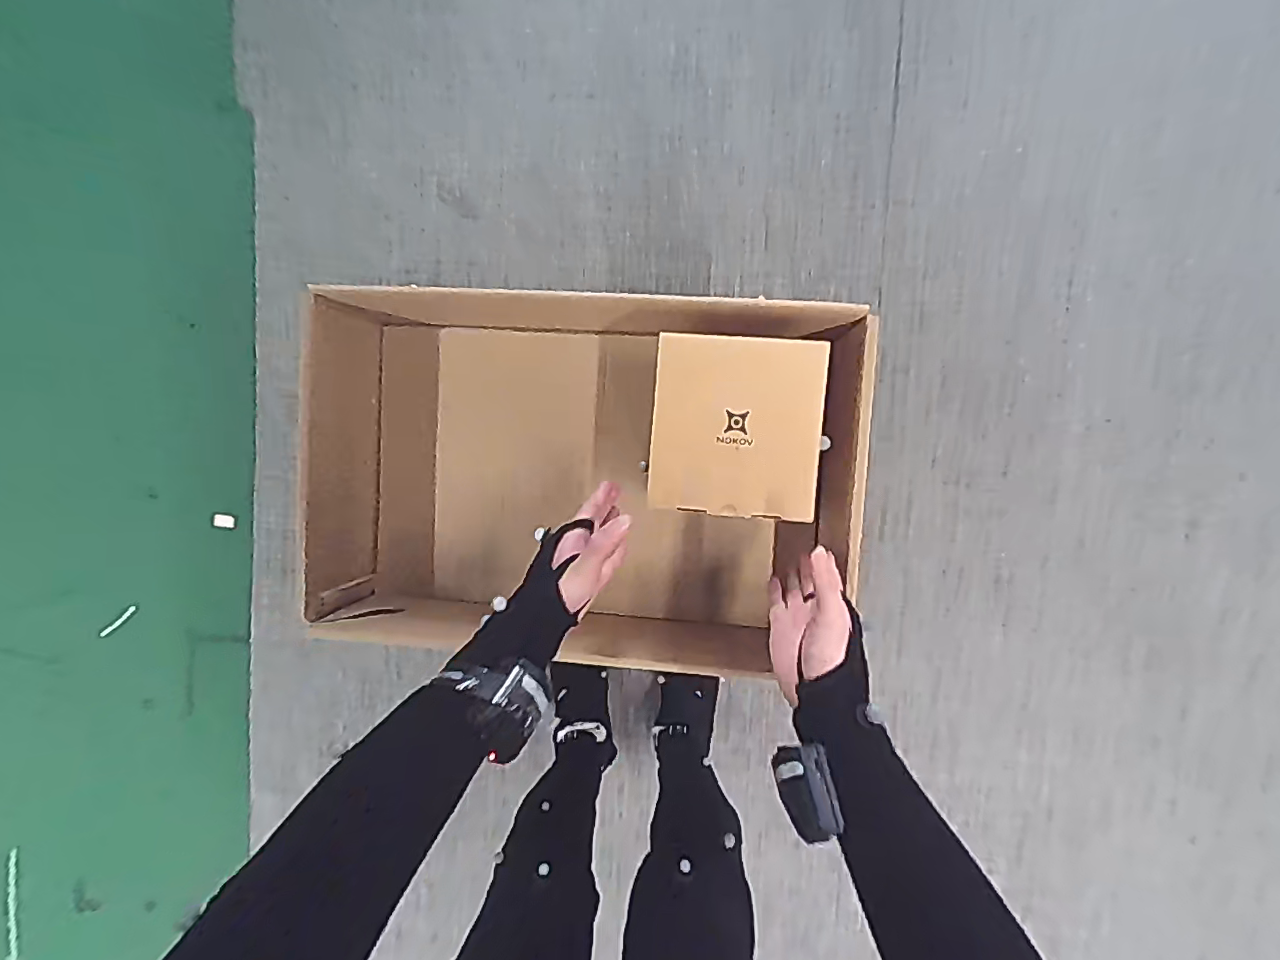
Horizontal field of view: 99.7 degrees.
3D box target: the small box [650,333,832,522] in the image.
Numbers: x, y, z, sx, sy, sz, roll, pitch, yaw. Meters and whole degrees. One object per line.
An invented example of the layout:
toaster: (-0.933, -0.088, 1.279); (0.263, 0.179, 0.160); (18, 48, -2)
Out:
small box: (0.103, -0.056, 0.608); (0.168, 0.176, 0.179); (5, 94, 5)
